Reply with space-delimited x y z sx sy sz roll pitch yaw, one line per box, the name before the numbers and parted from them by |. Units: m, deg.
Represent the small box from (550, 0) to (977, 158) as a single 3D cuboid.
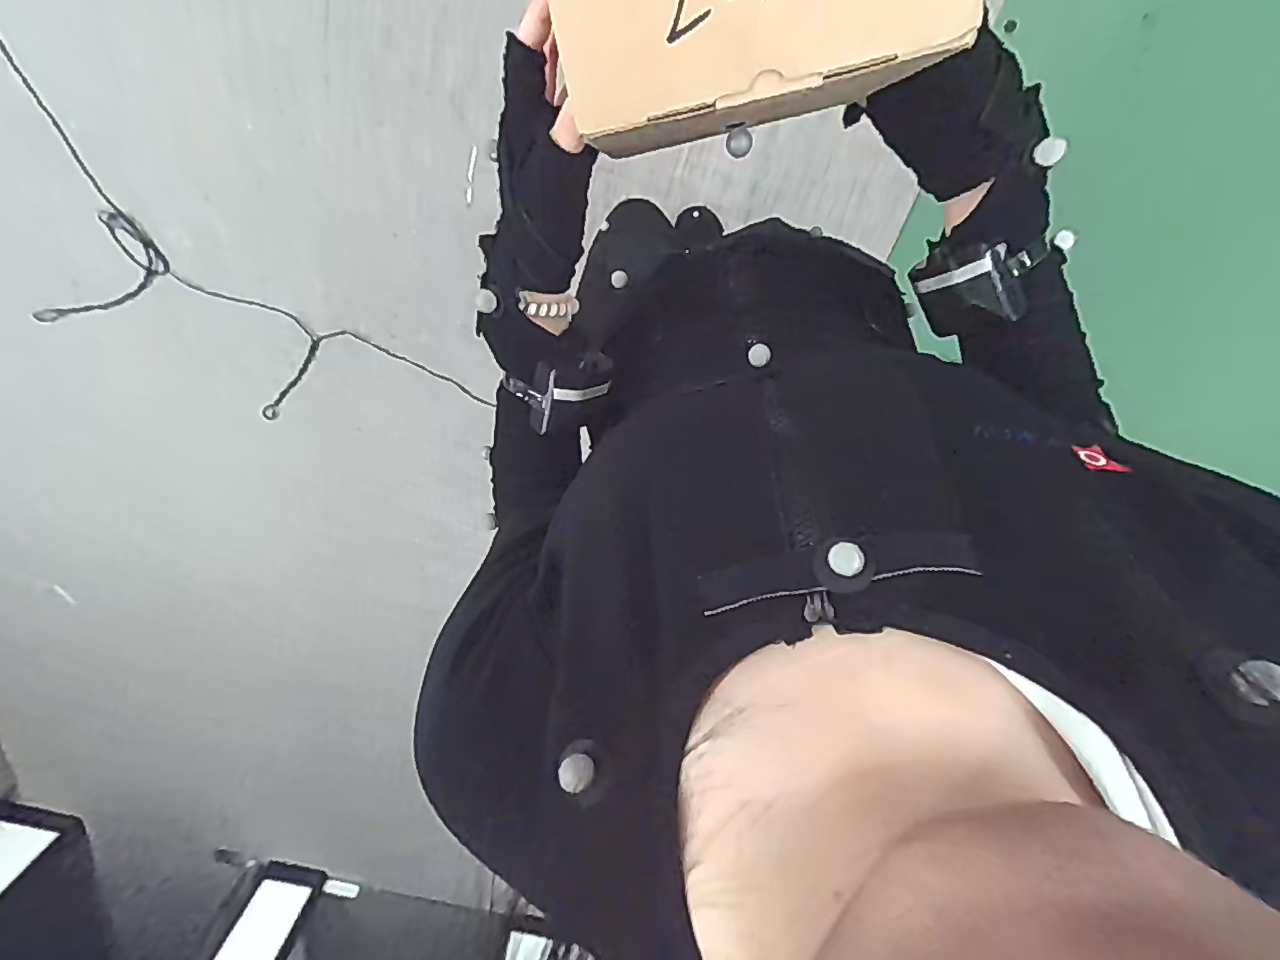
small box | 0.040 -0.273 0.258 0.168 0.176 0.179 -8 117 8
